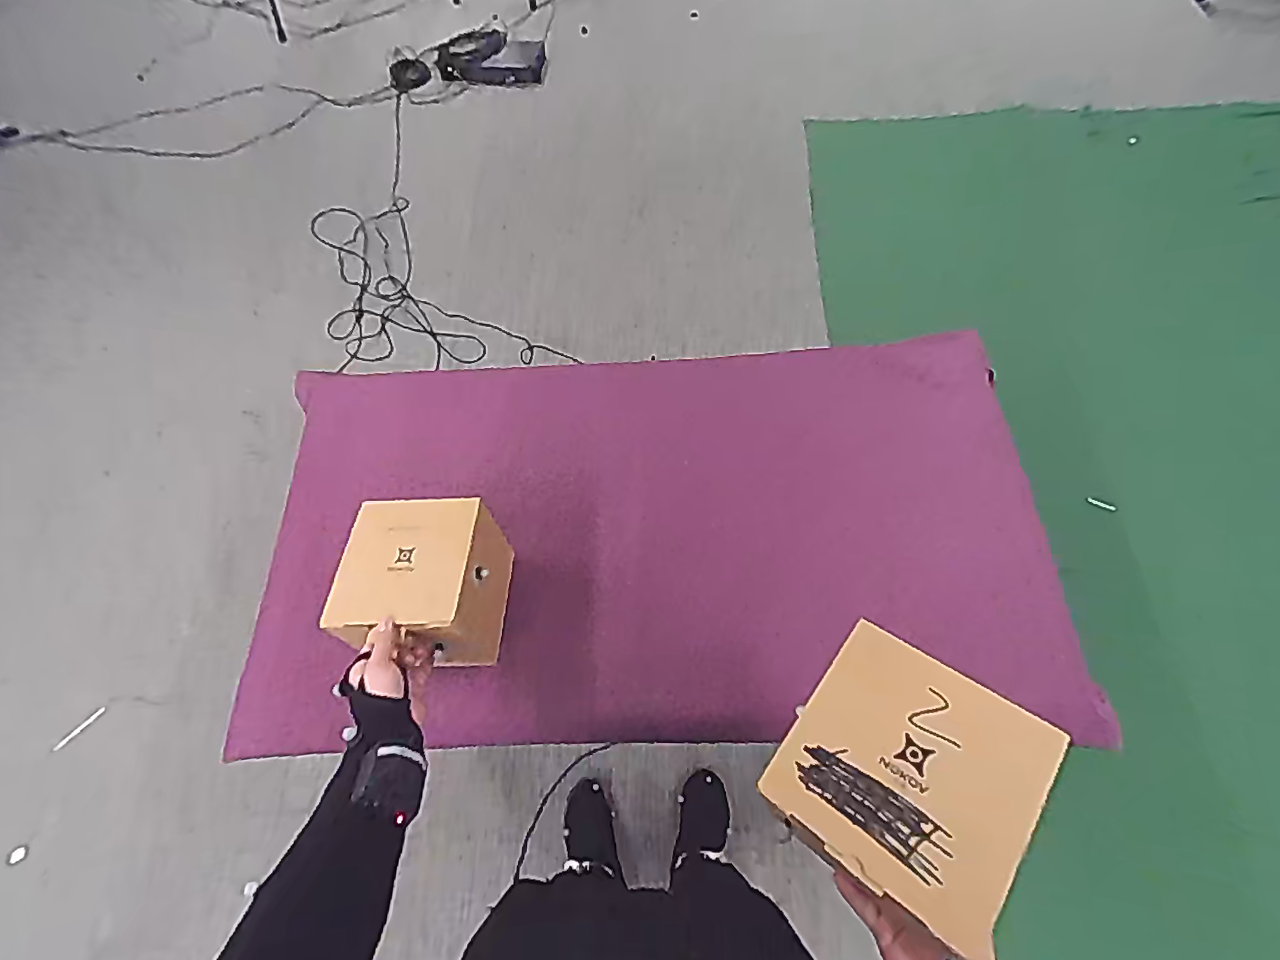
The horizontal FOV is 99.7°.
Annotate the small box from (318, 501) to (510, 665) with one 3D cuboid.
[{"bbox_3d":[-0.289,0.147,0.740,0.168,0.176,0.179,-2,55,5],"label":"small box"}]
